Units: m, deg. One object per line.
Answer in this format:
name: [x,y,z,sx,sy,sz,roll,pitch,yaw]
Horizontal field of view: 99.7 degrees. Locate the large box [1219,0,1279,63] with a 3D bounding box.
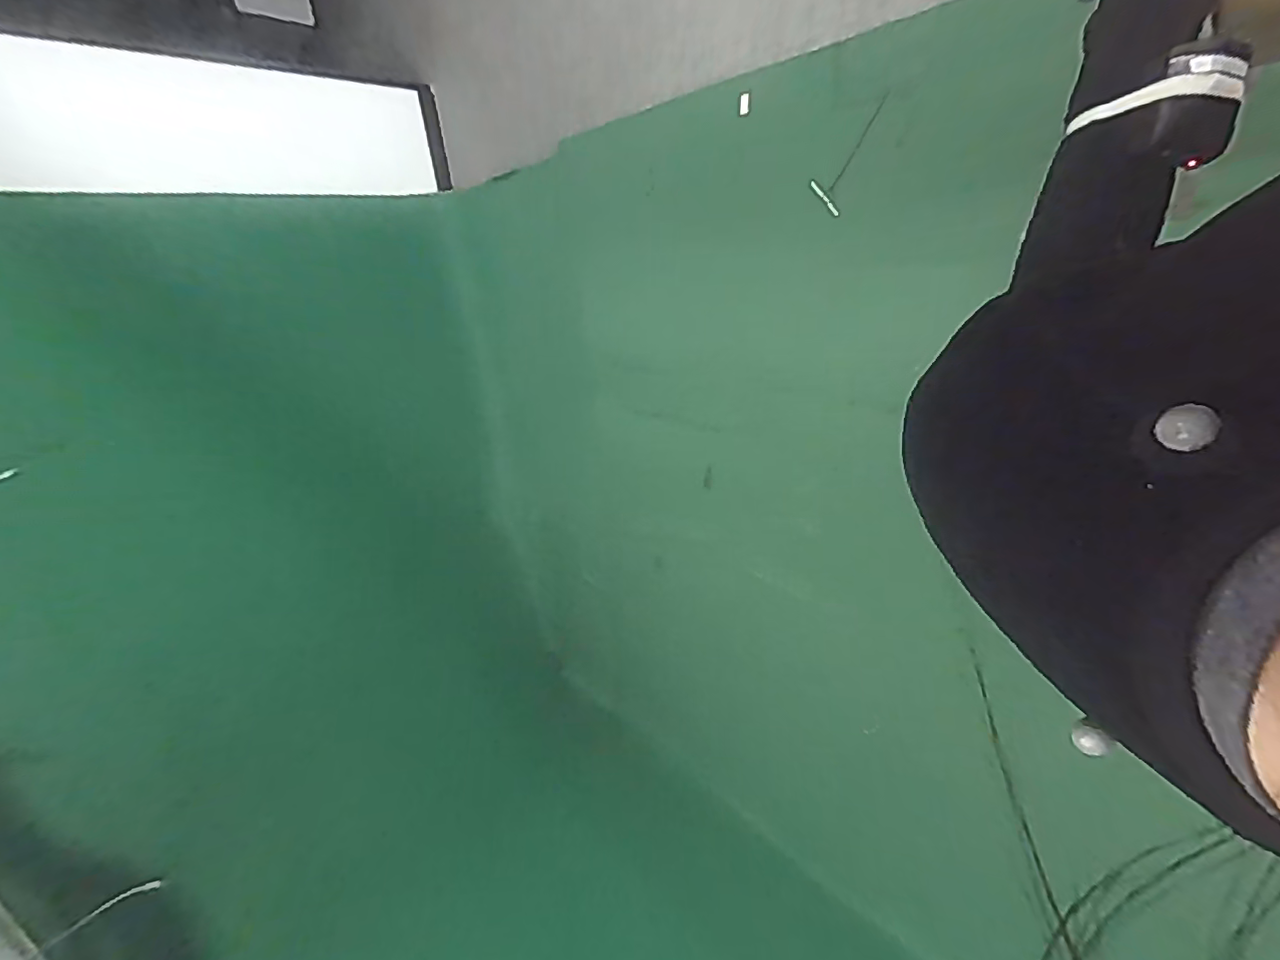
large box: [0.597,-0.470,0.252,0.408,0.320,0.320,13,116,43]
